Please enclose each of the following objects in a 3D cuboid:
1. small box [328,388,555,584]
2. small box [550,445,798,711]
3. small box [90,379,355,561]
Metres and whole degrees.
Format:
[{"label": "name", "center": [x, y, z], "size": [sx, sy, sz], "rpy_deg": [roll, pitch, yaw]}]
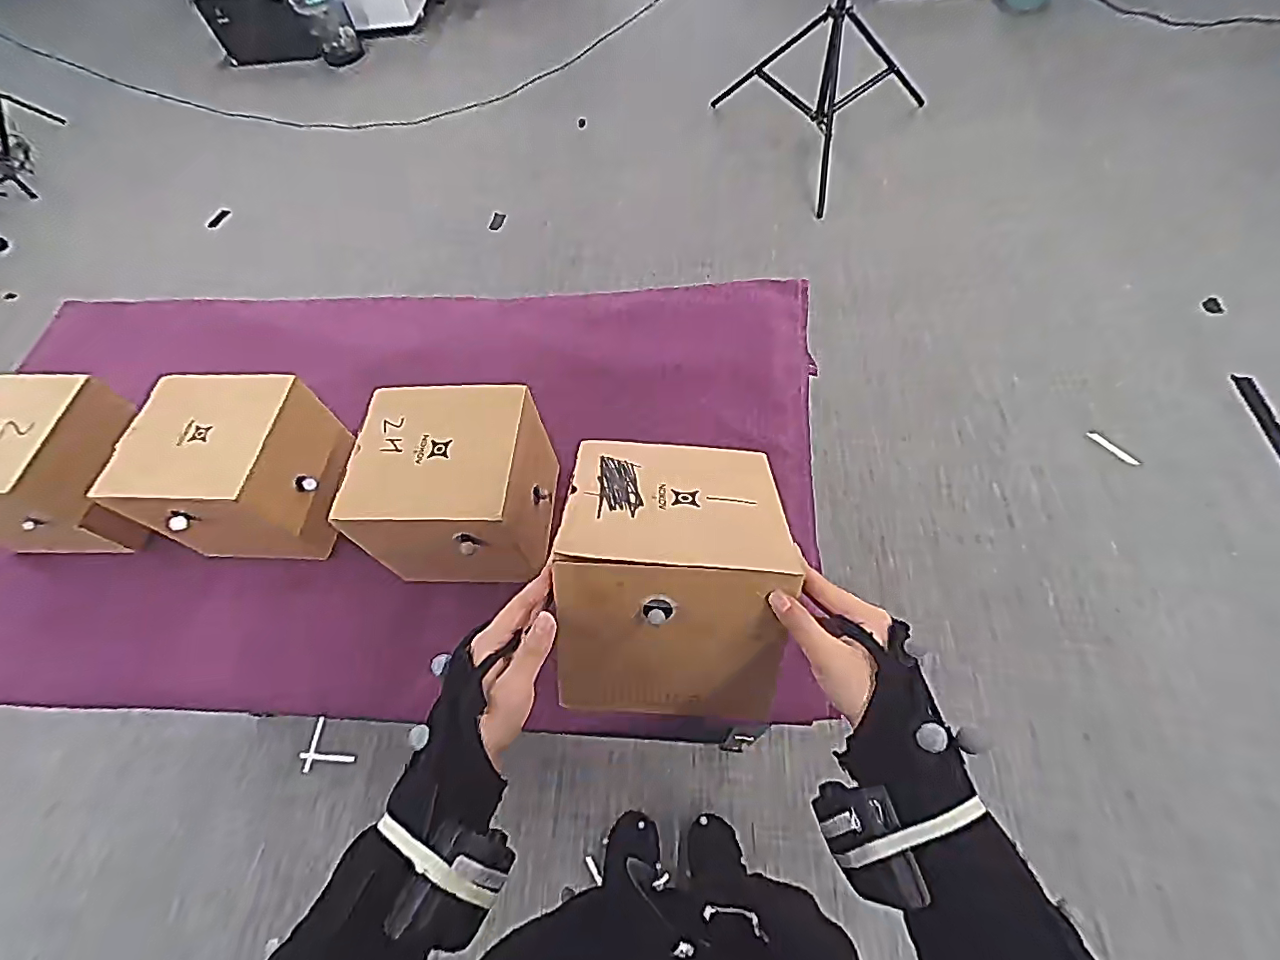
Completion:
[{"label": "small box", "center": [-0.204, 0.012, 0.620], "size": [0.179, 0.176, 0.168], "rpy_deg": [-1, 58, 6]}, {"label": "small box", "center": [0.024, 0.083, 0.481], "size": [0.179, 0.176, 0.168], "rpy_deg": [3, 33, 0]}, {"label": "small box", "center": [-0.478, -0.006, 0.664], "size": [0.179, 0.176, 0.168], "rpy_deg": [0, 60, 7]}]
